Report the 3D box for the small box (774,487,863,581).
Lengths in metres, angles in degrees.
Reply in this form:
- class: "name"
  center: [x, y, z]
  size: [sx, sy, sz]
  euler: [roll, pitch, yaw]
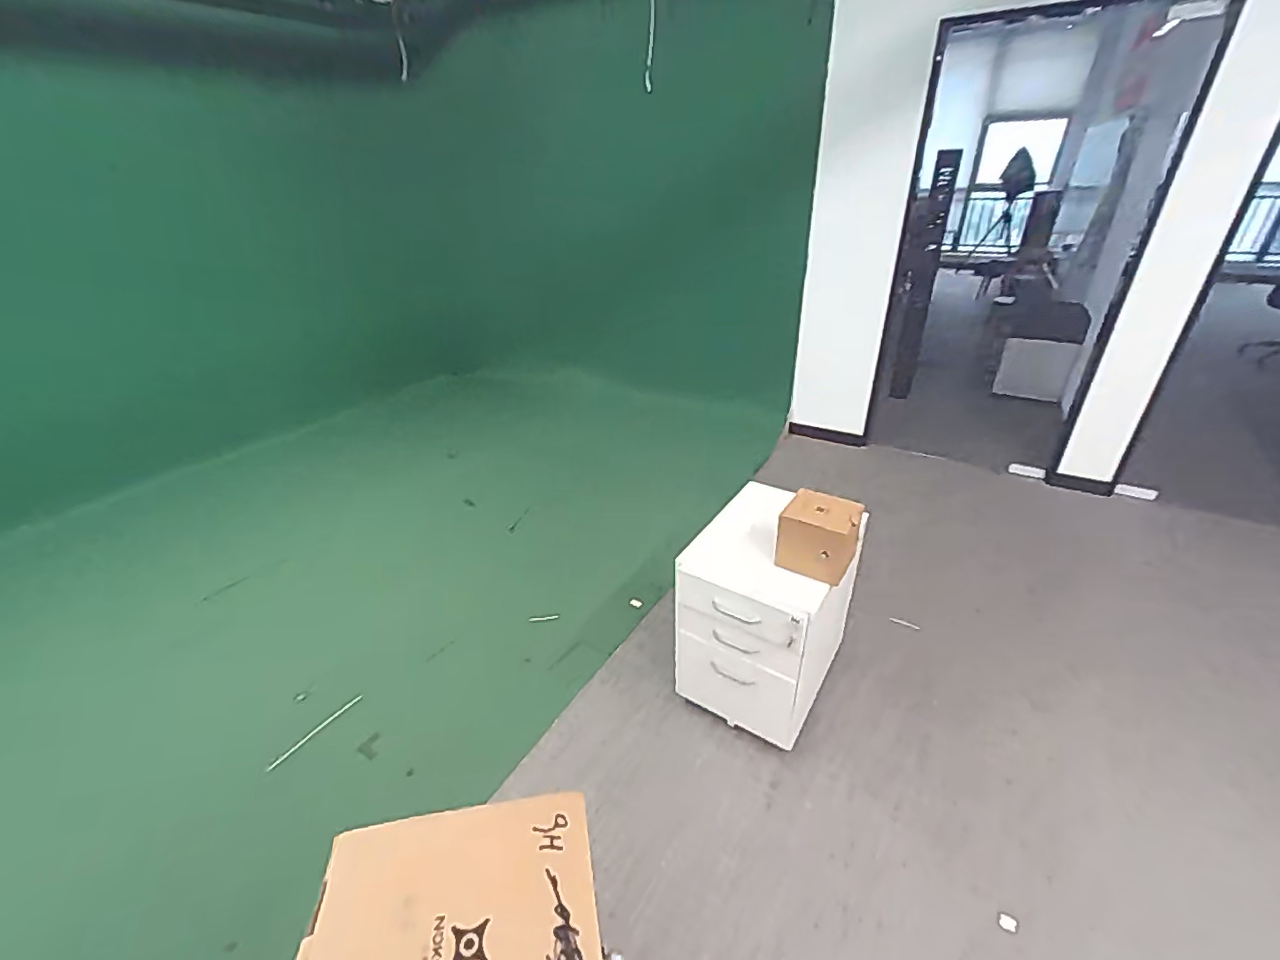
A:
- class: "small box"
  center: [0.472, 0.145, 1.439]
  size: [0.179, 0.176, 0.168]
  euler: [16, 33, 31]
